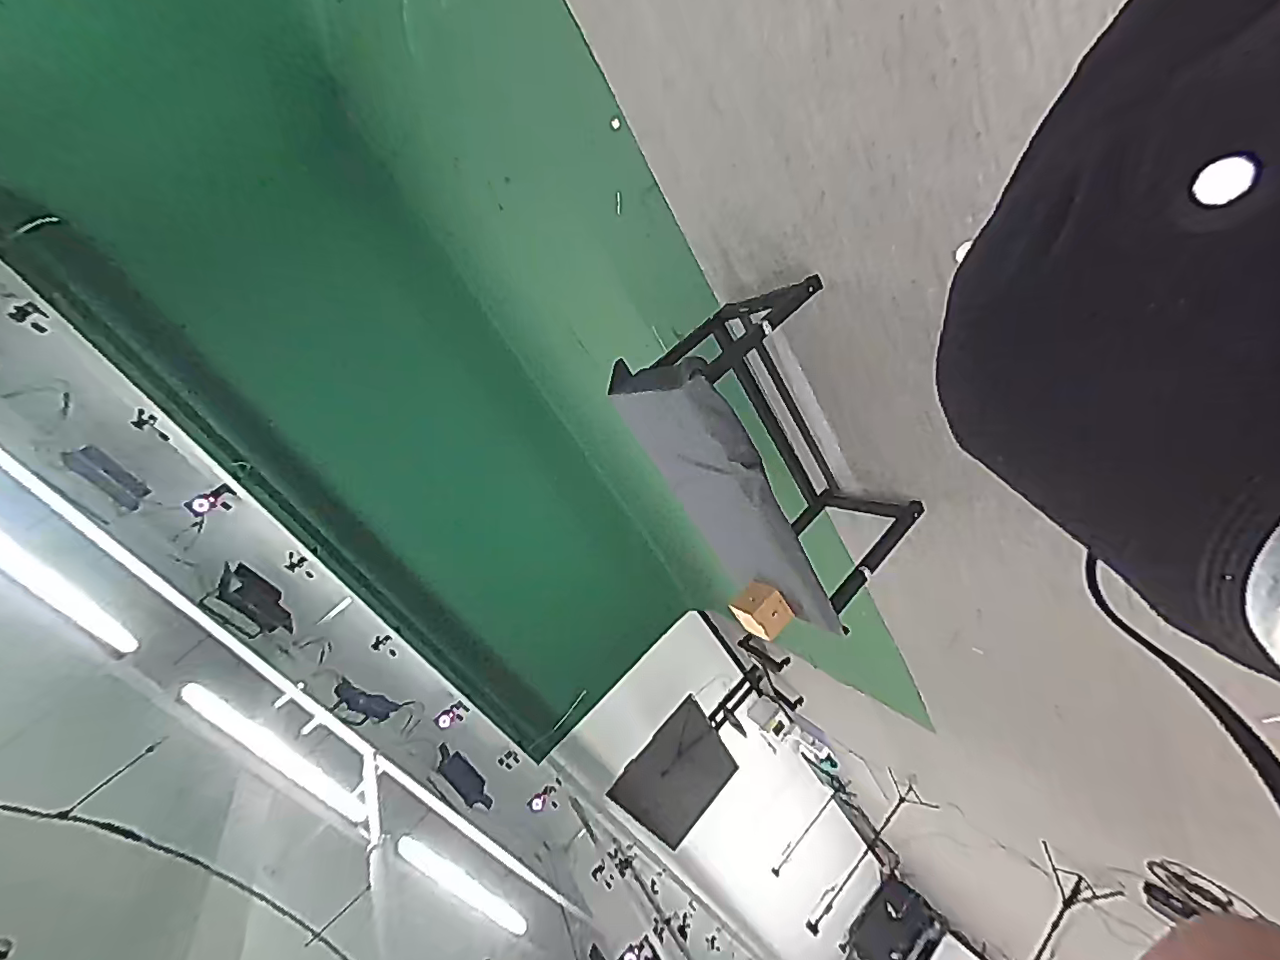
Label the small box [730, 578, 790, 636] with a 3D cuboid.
[{"bbox_3d":[0.540,0.557,2.403,0.168,0.176,0.179,54,161,-18],"label":"small box"}]
